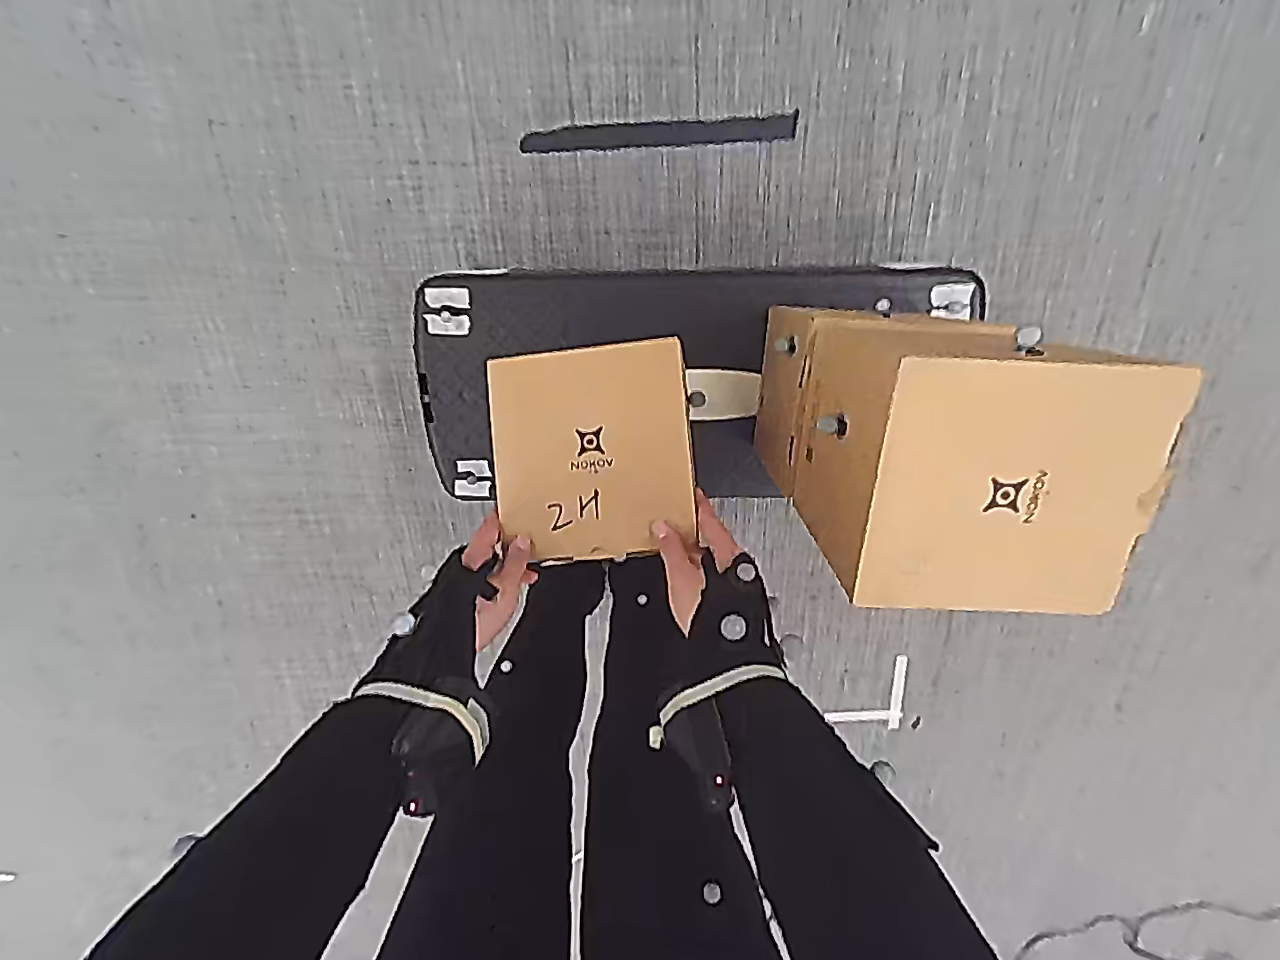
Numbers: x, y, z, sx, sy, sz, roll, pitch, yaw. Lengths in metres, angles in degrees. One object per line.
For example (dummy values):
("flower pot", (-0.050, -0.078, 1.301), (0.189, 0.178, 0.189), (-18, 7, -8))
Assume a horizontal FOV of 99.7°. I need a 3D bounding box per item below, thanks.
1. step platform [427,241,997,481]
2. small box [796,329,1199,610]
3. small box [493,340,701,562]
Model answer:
("step platform", (0.082, -0.156, 0.720), (0.684, 0.204, 0.286), (-1, 110, 2))
("small box", (0.230, -0.021, 0.409), (0.179, 0.176, 0.168), (2, 110, -1))
("small box", (-0.031, -0.020, 0.525), (0.168, 0.176, 0.179), (-5, 87, 6))
